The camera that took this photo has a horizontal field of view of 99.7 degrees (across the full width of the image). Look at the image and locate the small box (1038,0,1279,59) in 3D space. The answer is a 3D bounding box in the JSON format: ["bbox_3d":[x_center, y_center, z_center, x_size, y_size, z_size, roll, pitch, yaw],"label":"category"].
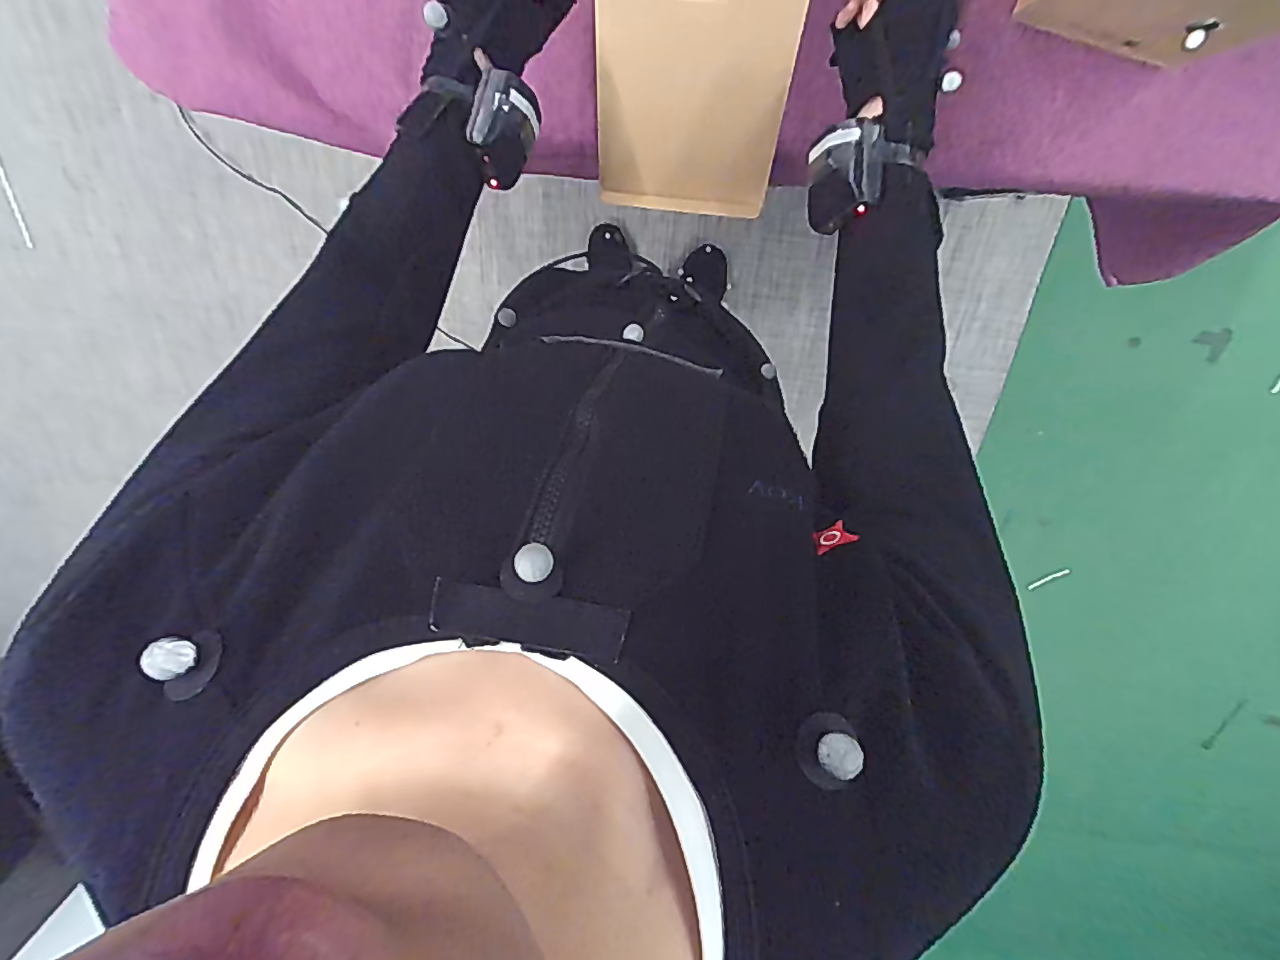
[{"bbox_3d":[0.446,-0.456,0.405,0.168,0.176,0.179,15,115,-3],"label":"small box"}]
